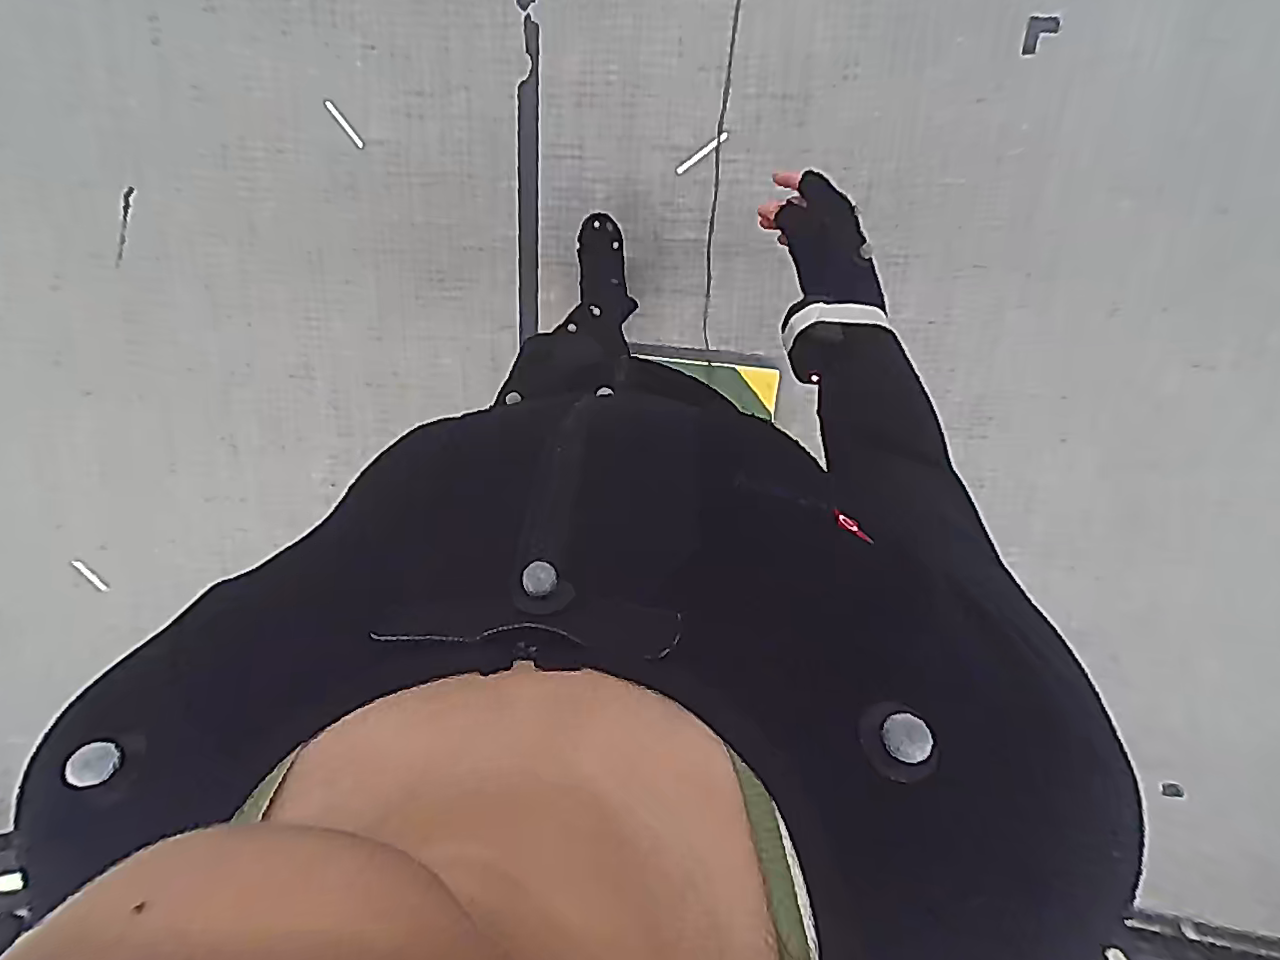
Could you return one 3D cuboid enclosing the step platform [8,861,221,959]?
[{"bbox_3d":[-1.970,1.700,2.029,0.684,0.204,0.286,-25,104,9],"label":"step platform"}]
